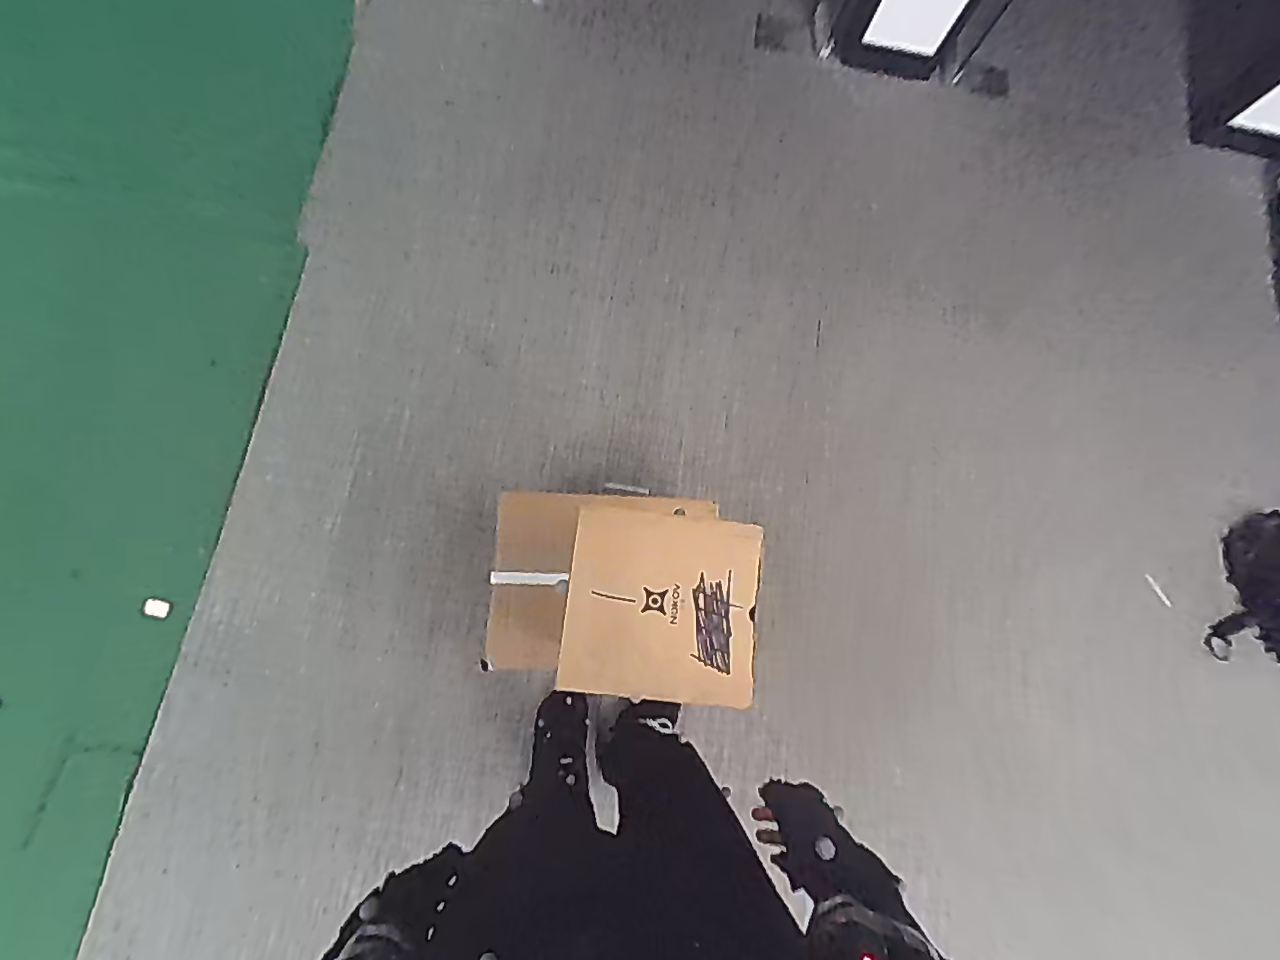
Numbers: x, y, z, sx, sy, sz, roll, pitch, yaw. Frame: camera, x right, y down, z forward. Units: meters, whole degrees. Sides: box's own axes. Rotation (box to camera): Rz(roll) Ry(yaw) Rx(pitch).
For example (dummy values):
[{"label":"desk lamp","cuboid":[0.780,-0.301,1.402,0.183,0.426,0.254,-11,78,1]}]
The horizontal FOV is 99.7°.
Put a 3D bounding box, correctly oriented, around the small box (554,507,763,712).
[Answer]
[{"label":"small box","cuboid":[0.014,0.131,0.565,0.179,0.176,0.168,8,77,-3]}]
